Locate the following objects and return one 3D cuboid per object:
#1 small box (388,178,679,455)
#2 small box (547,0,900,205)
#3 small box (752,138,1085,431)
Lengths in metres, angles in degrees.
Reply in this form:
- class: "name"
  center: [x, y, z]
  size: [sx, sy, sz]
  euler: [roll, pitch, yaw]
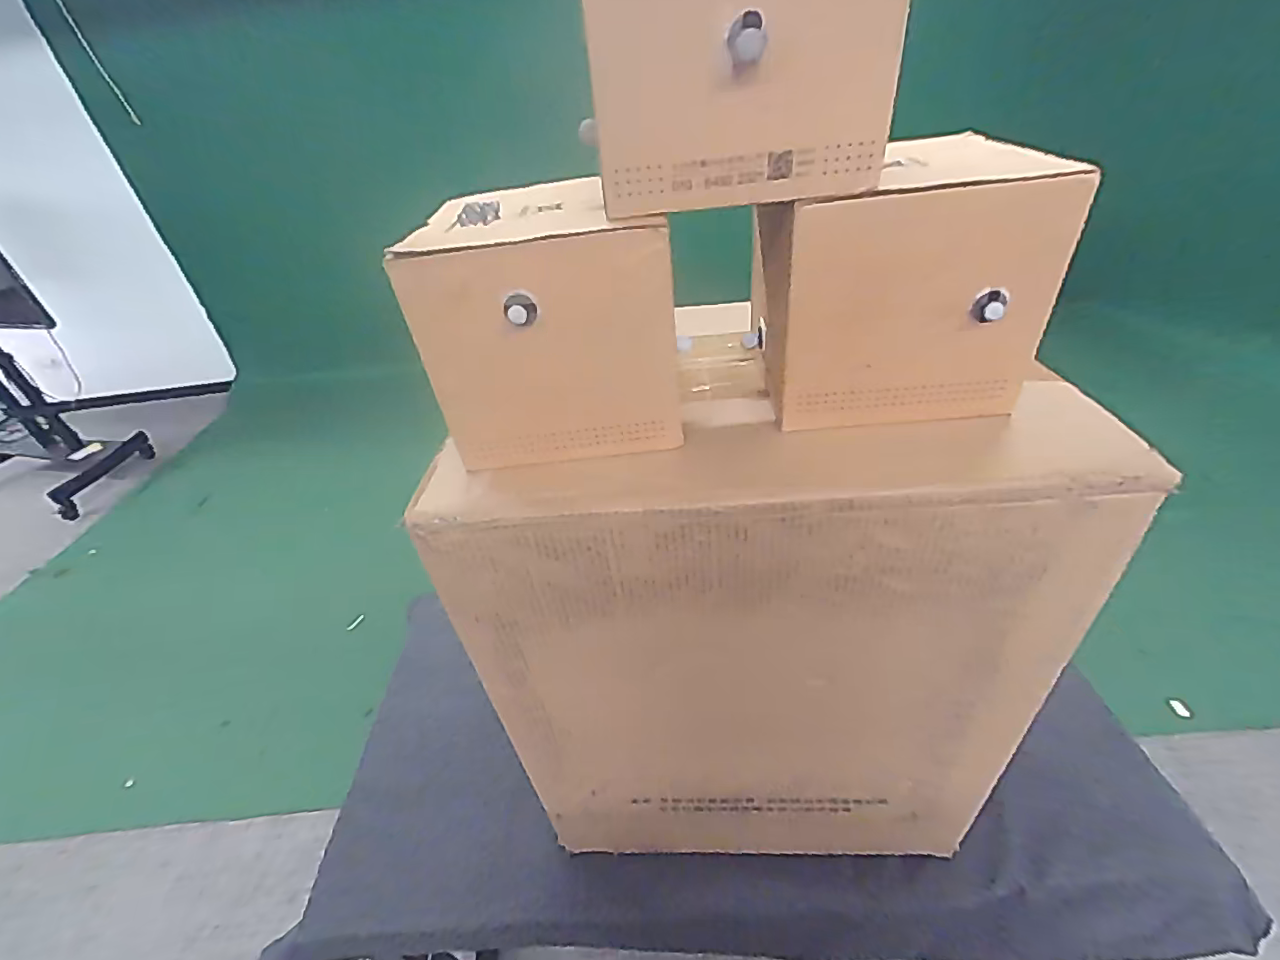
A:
- class: "small box"
  center: [-0.063, -0.133, 0.446]
  size: [0.179, 0.176, 0.168]
  euler: [-4, 41, 7]
- class: "small box"
  center: [0.052, -0.293, 0.353]
  size: [0.179, 0.176, 0.168]
  euler: [-25, 41, -20]
- class: "small box"
  center: [0.188, -0.155, 0.434]
  size: [0.179, 0.176, 0.168]
  euler: [-5, 38, 6]
